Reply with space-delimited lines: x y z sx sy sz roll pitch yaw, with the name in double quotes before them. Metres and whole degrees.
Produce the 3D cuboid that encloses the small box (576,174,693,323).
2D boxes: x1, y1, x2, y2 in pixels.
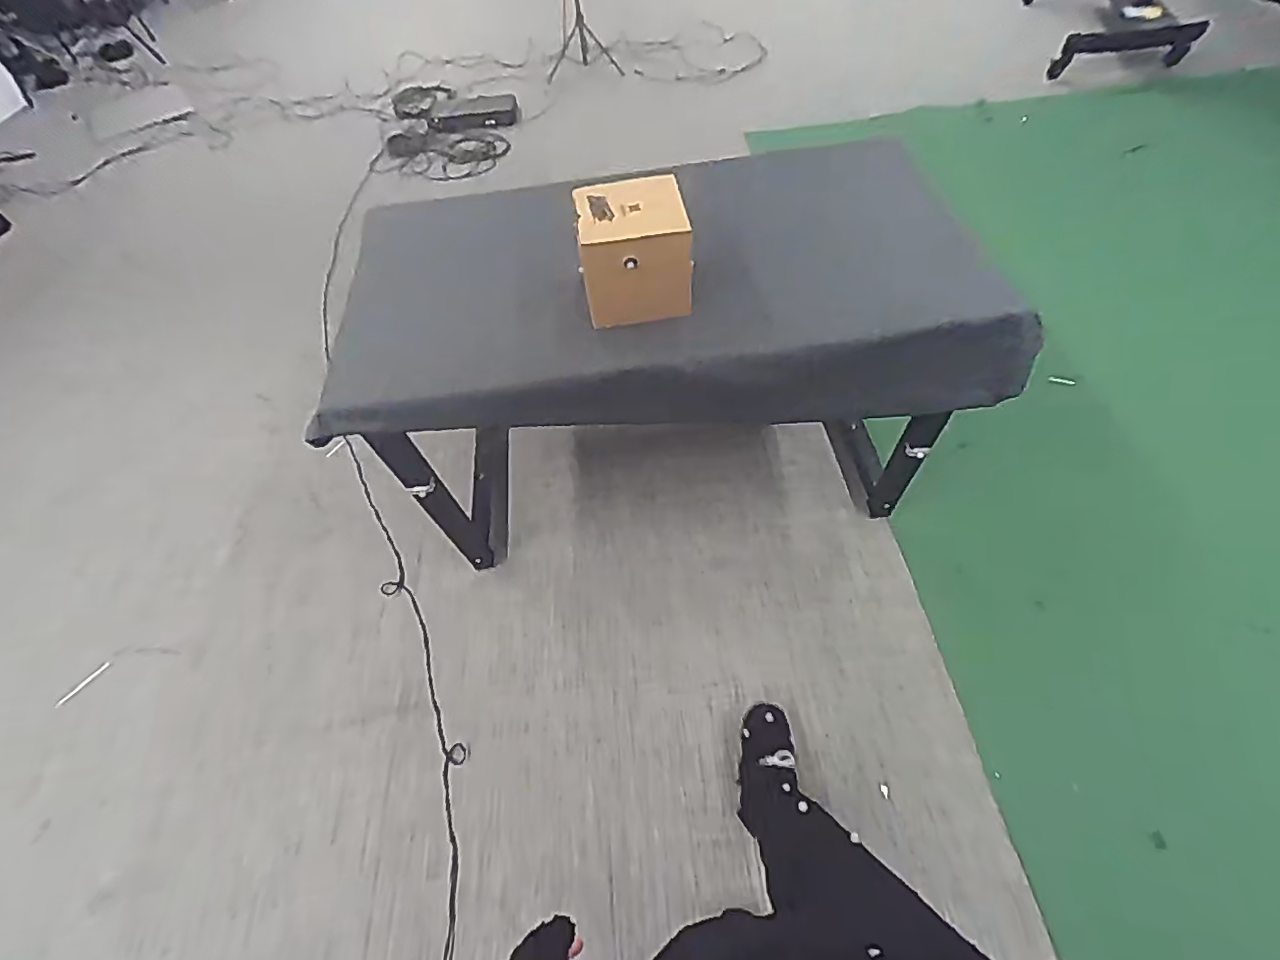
"small box" -0.006 -0.392 0.932 0.179 0.176 0.168 -8 57 0
